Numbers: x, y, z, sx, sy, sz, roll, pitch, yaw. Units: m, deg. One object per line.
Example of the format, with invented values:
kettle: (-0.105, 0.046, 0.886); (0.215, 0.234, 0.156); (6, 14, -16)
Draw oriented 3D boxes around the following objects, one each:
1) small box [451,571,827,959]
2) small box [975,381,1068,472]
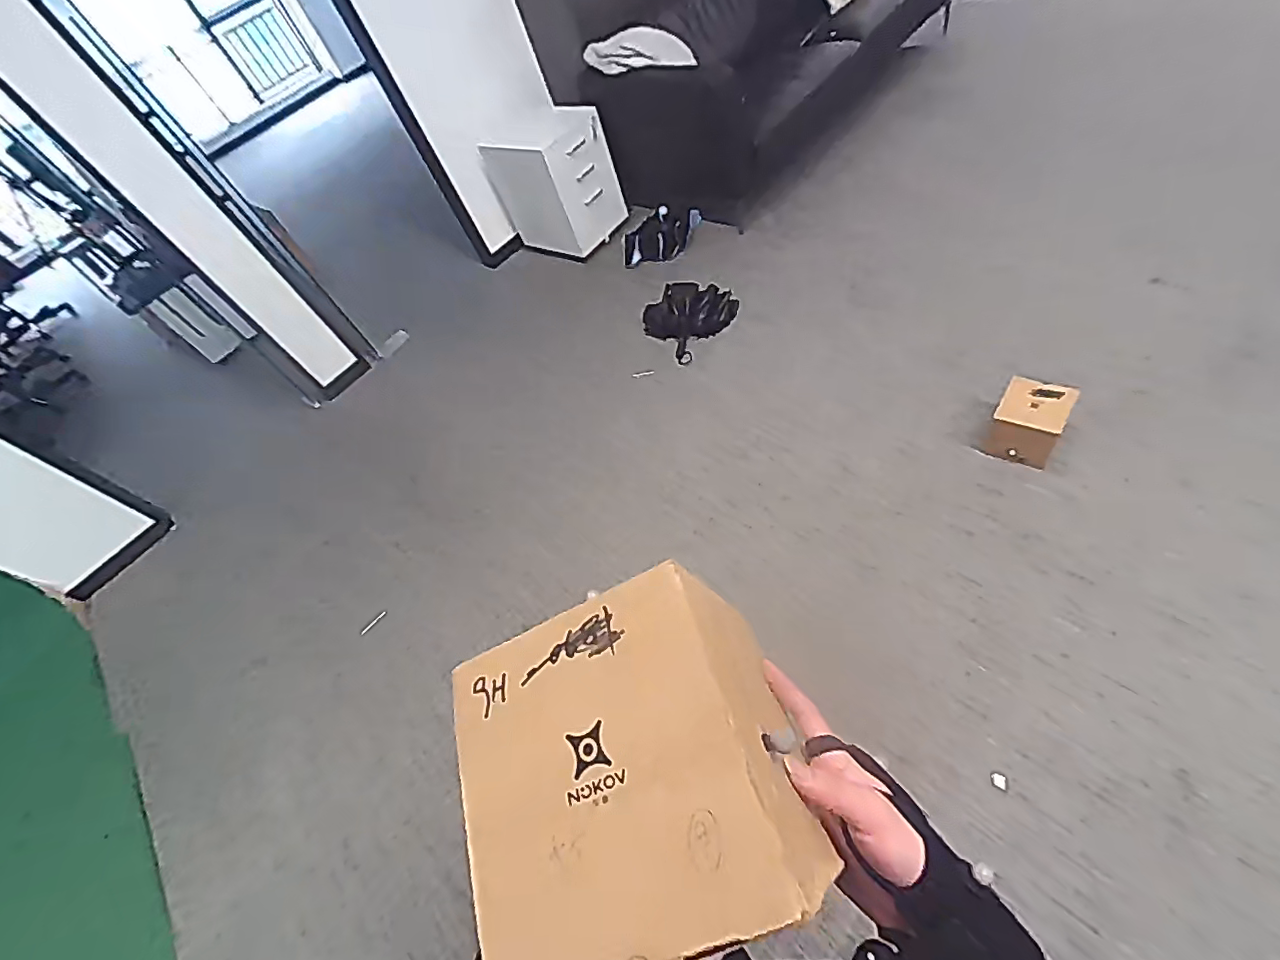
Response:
small box: (0.006, 0.187, 0.356); (0.168, 0.176, 0.179); (-28, 58, 11)
small box: (1.119, -0.157, 1.598); (0.168, 0.176, 0.179); (24, 66, 33)
